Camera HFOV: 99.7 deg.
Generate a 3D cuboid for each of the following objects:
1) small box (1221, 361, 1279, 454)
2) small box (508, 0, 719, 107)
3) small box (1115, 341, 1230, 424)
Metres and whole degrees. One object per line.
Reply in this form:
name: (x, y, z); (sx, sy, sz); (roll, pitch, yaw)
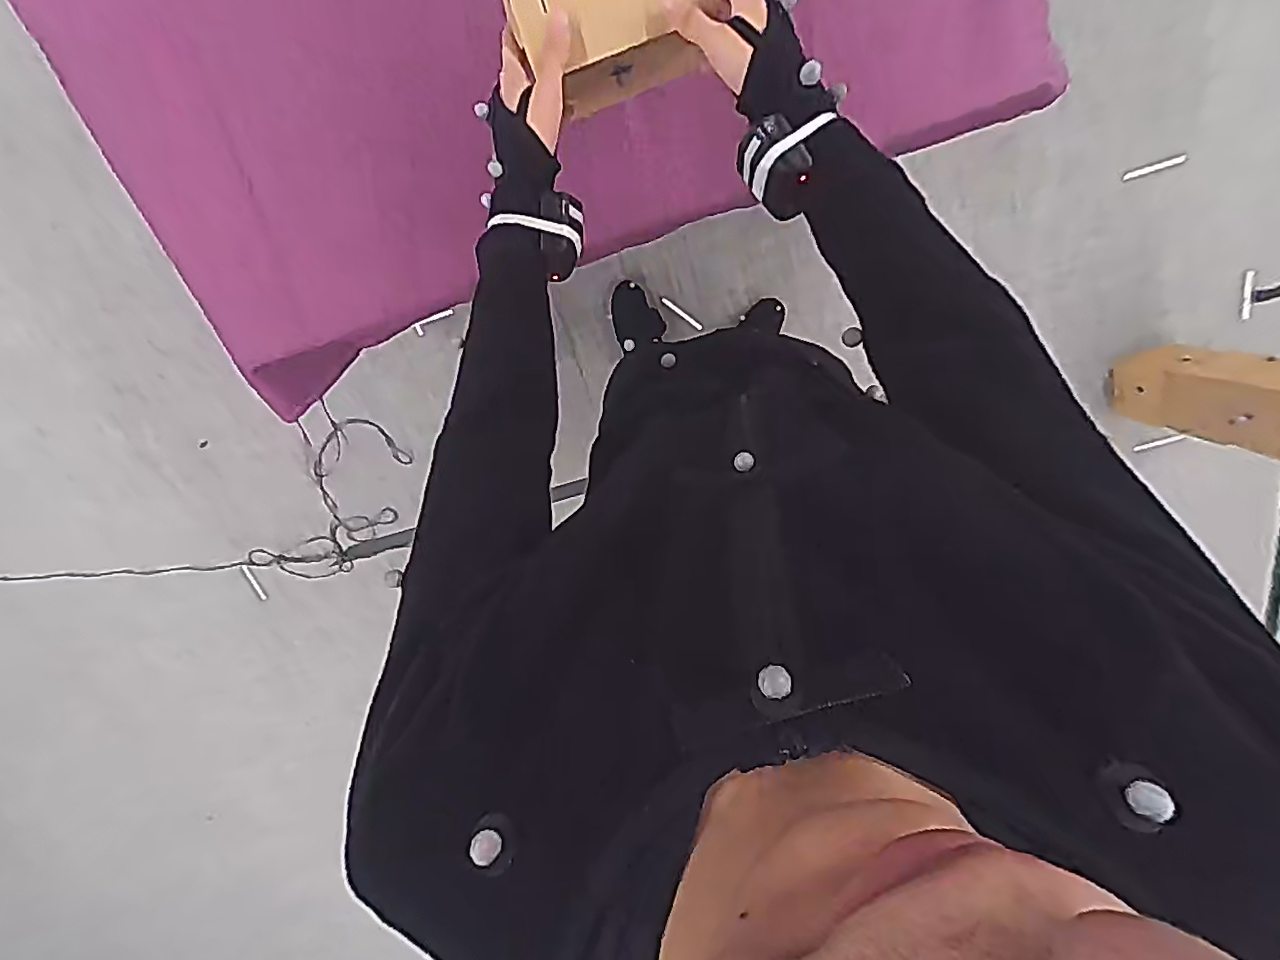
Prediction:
small box: (1.484, -0.172, 1.211); (0.179, 0.176, 0.168); (-18, 112, 6)
small box: (-0.031, -0.482, 0.506); (0.179, 0.176, 0.168); (-15, 115, 11)
small box: (1.490, -0.279, 1.525); (0.179, 0.176, 0.168); (-21, 111, 6)
